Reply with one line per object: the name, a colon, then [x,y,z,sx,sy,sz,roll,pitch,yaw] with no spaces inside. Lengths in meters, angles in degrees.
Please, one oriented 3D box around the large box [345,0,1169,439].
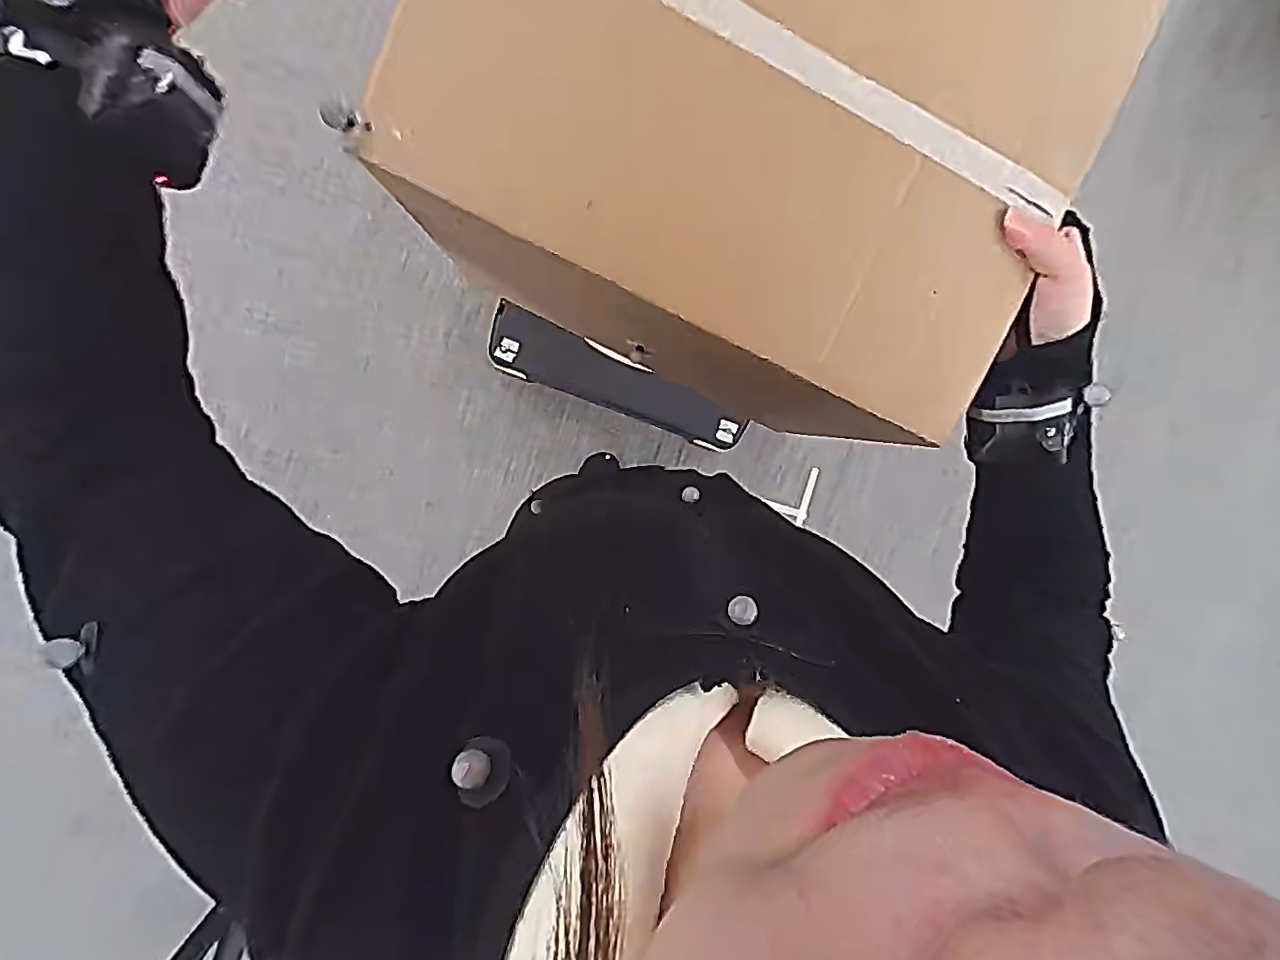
large box: [0.067,-0.259,0.455,0.408,0.320,0.320,25,94,-8]
